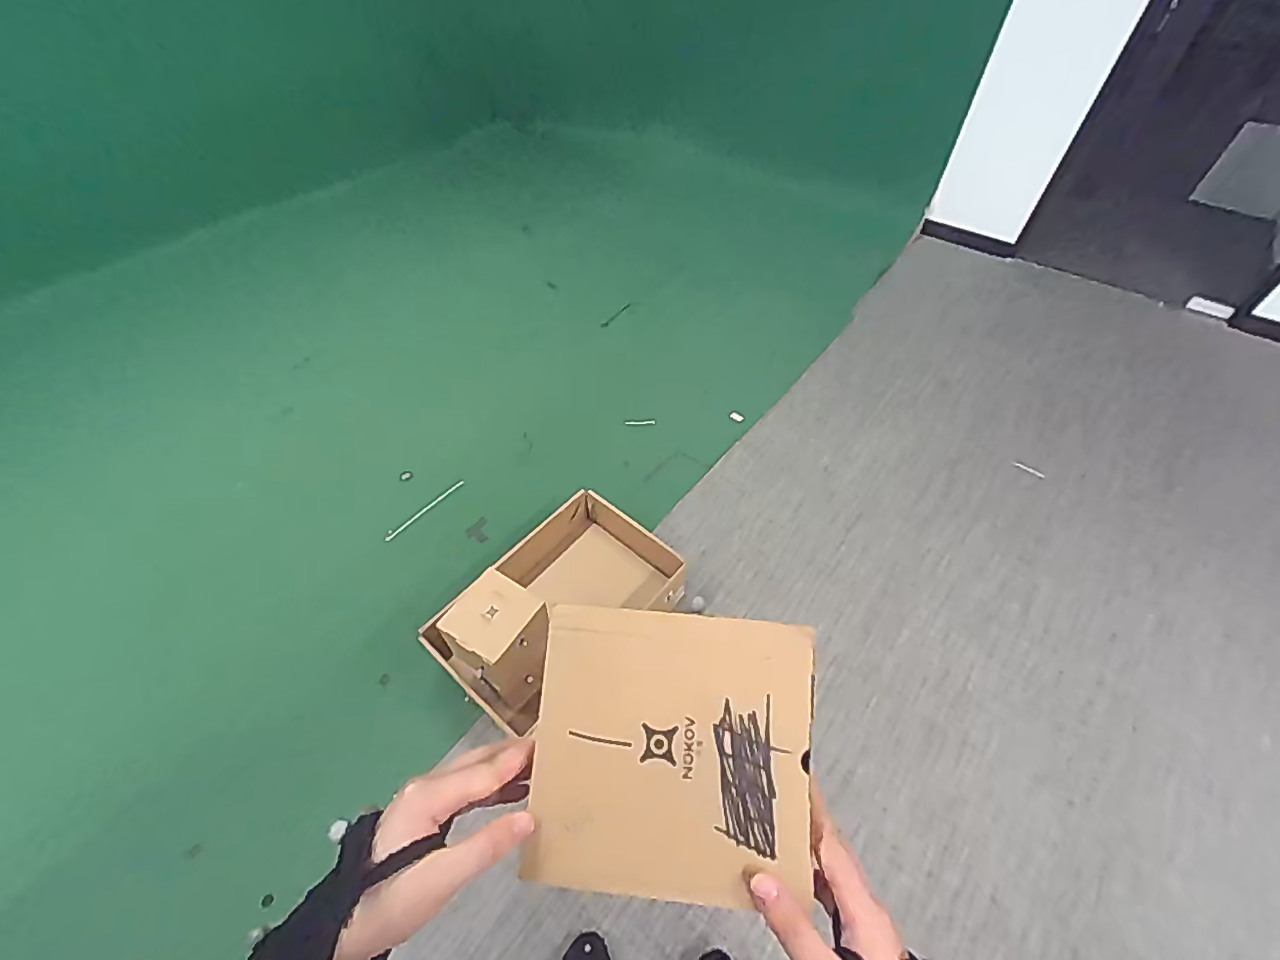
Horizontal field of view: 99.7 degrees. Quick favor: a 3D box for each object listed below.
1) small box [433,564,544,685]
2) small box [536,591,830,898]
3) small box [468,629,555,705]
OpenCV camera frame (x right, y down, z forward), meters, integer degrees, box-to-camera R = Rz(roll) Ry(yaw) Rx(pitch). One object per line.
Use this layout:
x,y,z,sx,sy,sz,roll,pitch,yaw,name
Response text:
-0.334,0.333,1.234,0.168,0.176,0.179,27,54,17,small box
0.034,0.179,0.417,0.179,0.176,0.168,4,75,4,small box
-0.334,0.433,1.365,0.168,0.176,0.179,36,59,23,small box
